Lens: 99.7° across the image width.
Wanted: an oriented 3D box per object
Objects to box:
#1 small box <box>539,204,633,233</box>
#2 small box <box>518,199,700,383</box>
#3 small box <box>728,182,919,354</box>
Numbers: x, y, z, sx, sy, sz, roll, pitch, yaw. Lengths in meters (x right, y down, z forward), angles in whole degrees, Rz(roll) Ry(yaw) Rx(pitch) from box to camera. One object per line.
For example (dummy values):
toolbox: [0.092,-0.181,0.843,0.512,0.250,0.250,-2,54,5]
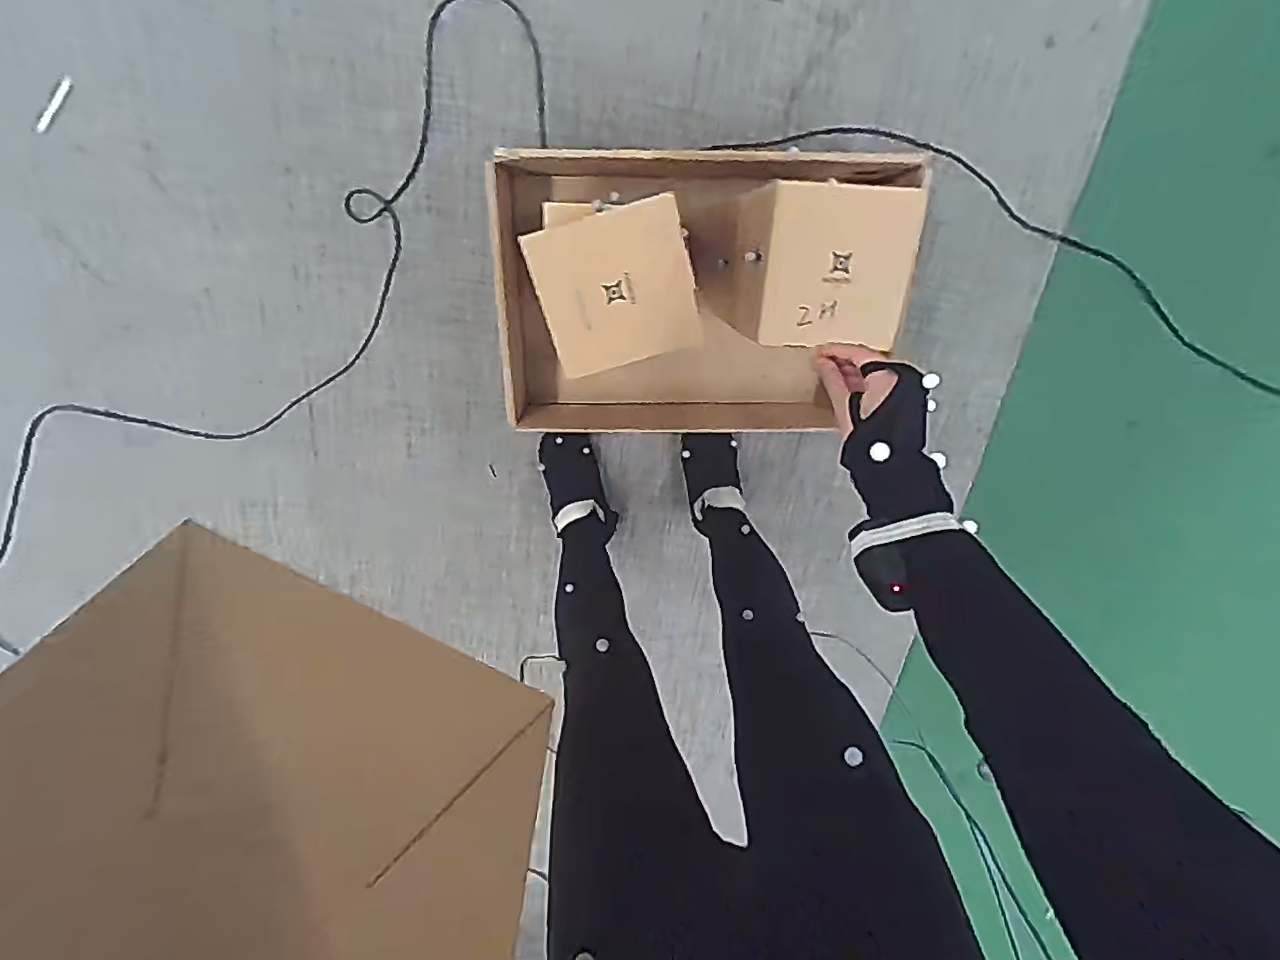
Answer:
small box: [-0.055,-0.322,0.826,0.179,0.176,0.168,-1,114,-5]
small box: [-0.037,-0.242,0.684,0.179,0.176,0.168,-15,114,3]
small box: [0.213,-0.264,0.683,0.168,0.176,0.179,2,113,-3]
